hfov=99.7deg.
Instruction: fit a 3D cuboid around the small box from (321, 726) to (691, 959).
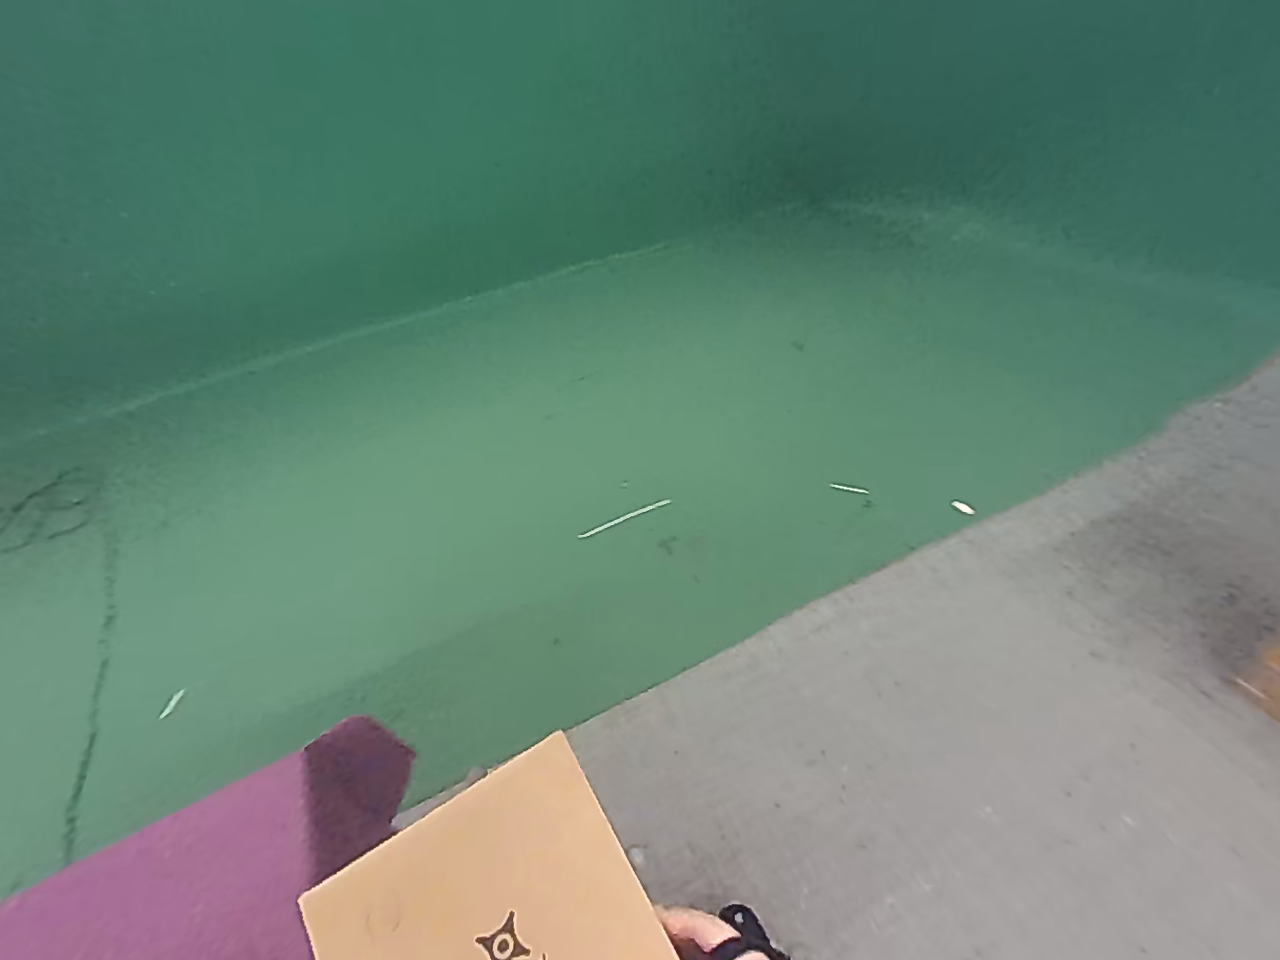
[{"bbox_3d":[-0.086,0.303,0.371,0.168,0.176,0.179,-23,67,-25],"label":"small box"}]
